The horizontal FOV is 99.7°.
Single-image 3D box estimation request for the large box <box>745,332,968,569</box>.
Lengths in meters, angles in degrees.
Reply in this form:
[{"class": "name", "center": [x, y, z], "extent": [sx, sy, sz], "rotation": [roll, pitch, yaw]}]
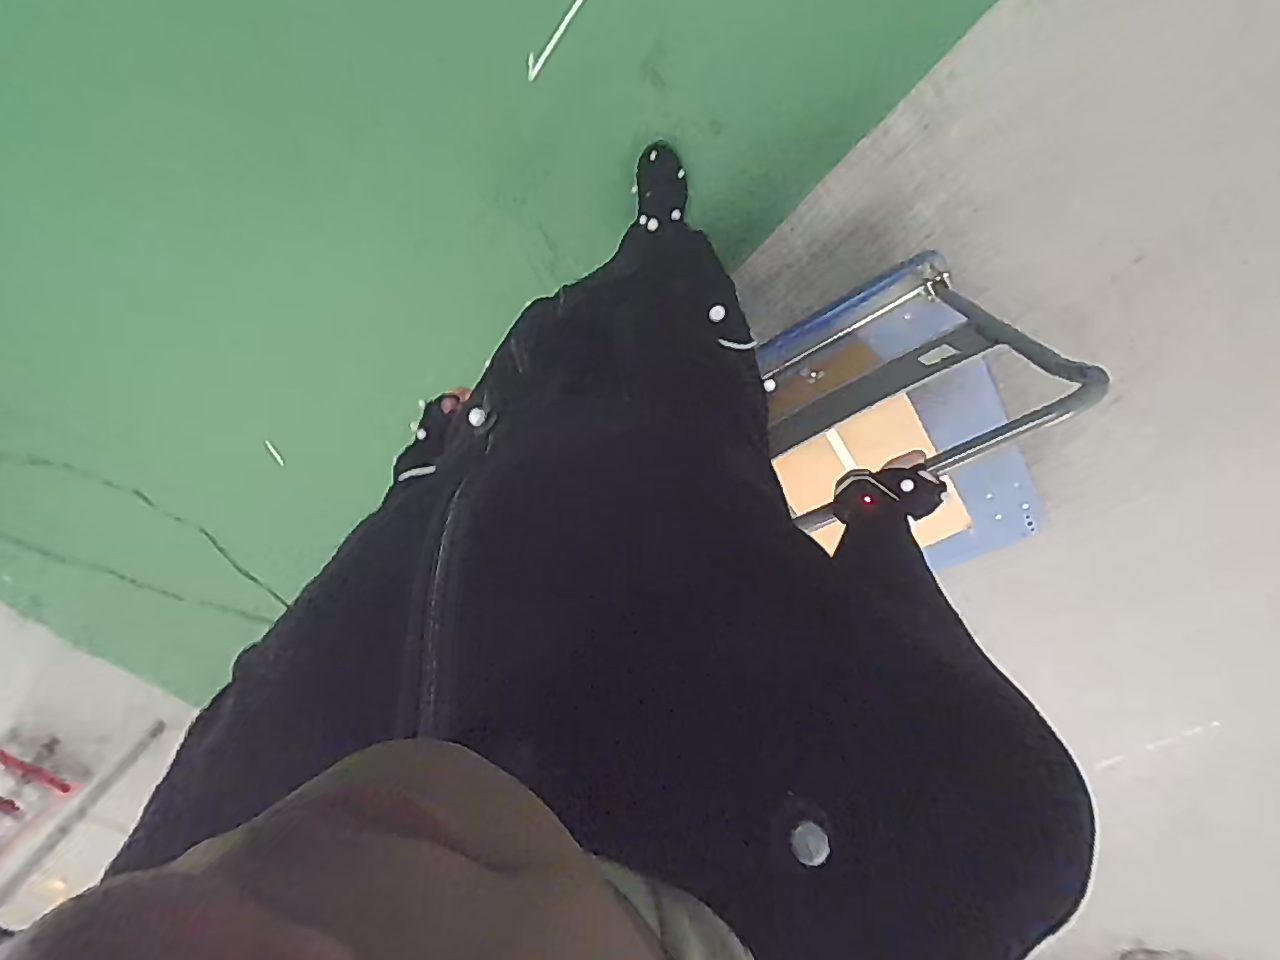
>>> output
[{"class": "large box", "center": [0.496, -0.073, 1.298], "extent": [0.320, 0.320, 0.408], "rotation": [-30, 114, 22]}]
